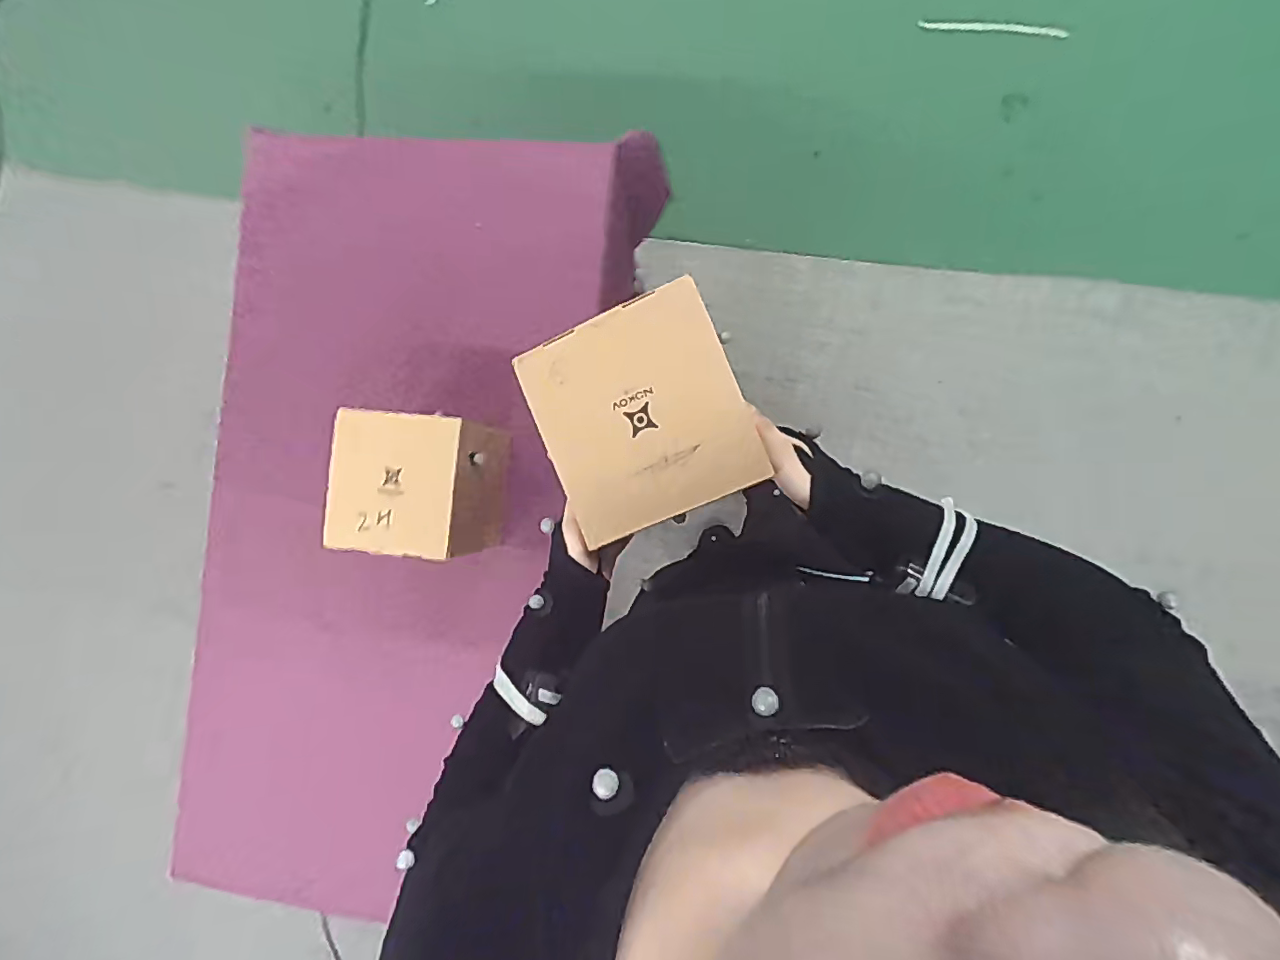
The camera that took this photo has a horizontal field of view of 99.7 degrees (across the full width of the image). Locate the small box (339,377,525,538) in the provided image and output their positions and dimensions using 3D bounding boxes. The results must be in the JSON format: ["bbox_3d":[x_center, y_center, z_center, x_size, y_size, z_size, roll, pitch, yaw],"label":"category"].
[{"bbox_3d":[-0.272,-0.027,0.746,0.168,0.176,0.179,11,90,8],"label":"small box"}]

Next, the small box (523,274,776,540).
[{"bbox_3d":[0.017,-0.060,0.518,0.168,0.176,0.179,-21,90,11],"label":"small box"}]
